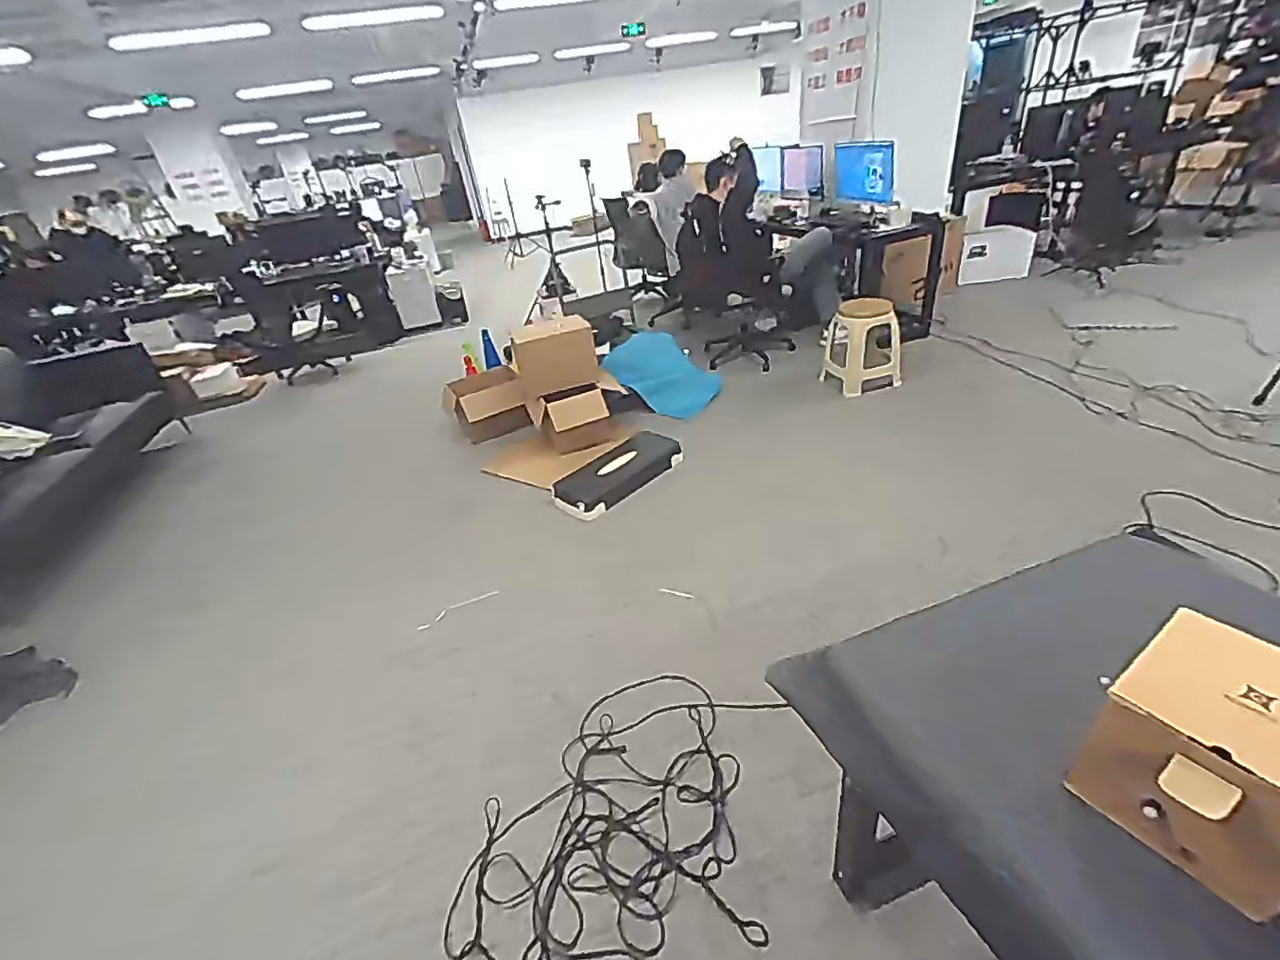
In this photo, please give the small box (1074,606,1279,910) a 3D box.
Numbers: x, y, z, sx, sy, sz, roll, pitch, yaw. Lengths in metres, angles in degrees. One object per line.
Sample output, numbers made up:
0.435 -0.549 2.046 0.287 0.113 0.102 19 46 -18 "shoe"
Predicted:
0.584 0.269 0.544 0.179 0.176 0.168 -25 36 -24 "small box"
